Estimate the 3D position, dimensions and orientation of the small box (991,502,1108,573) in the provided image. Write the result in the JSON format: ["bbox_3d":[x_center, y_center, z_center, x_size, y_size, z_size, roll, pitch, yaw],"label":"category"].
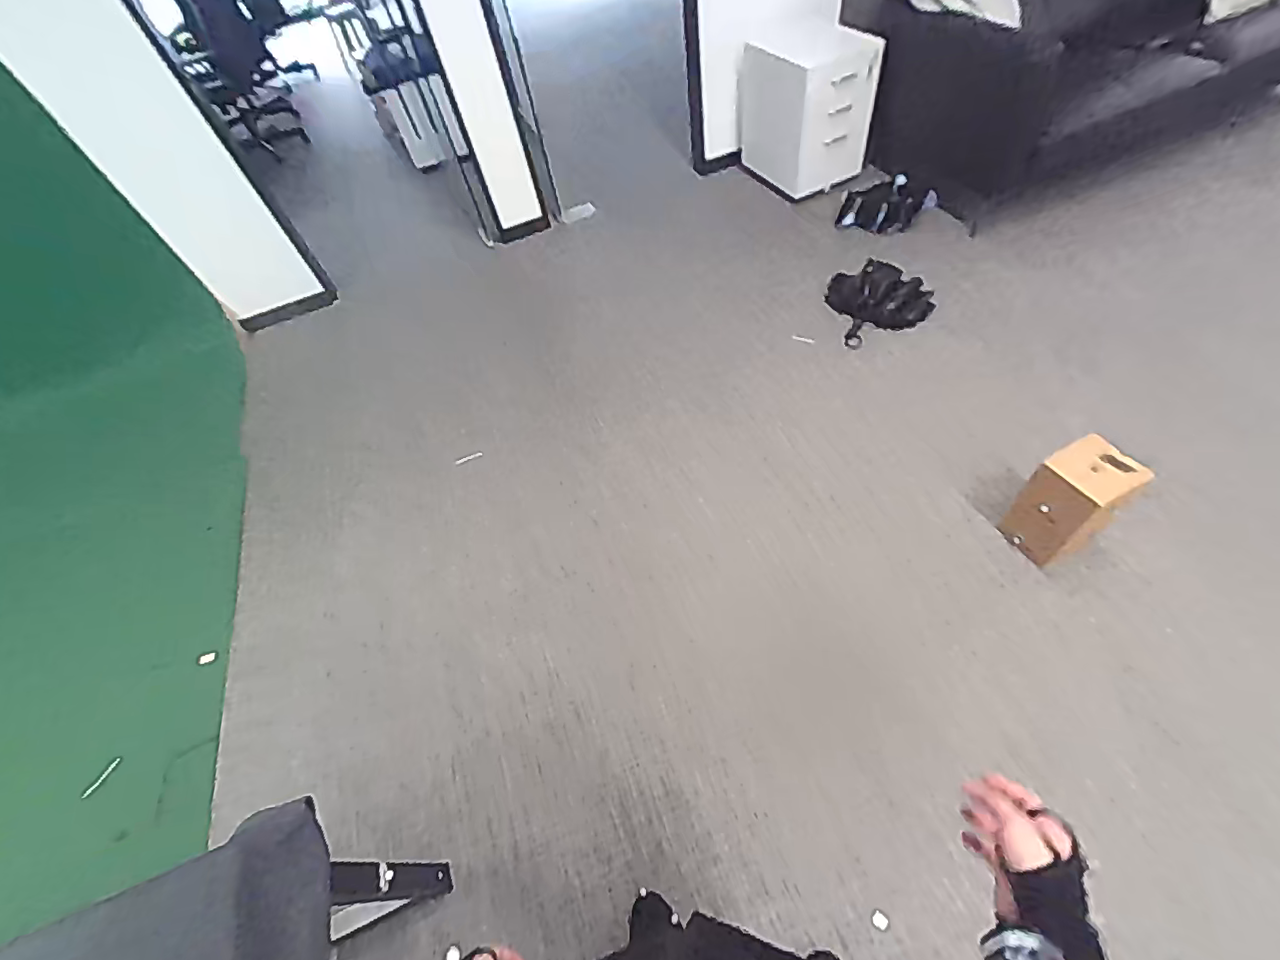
[{"bbox_3d":[1.147,0.133,1.532,0.179,0.176,0.168,-26,53,-8],"label":"small box"}]

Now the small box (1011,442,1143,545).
[{"bbox_3d":[1.118,0.038,1.401,0.179,0.176,0.168,-25,53,-9],"label":"small box"}]
